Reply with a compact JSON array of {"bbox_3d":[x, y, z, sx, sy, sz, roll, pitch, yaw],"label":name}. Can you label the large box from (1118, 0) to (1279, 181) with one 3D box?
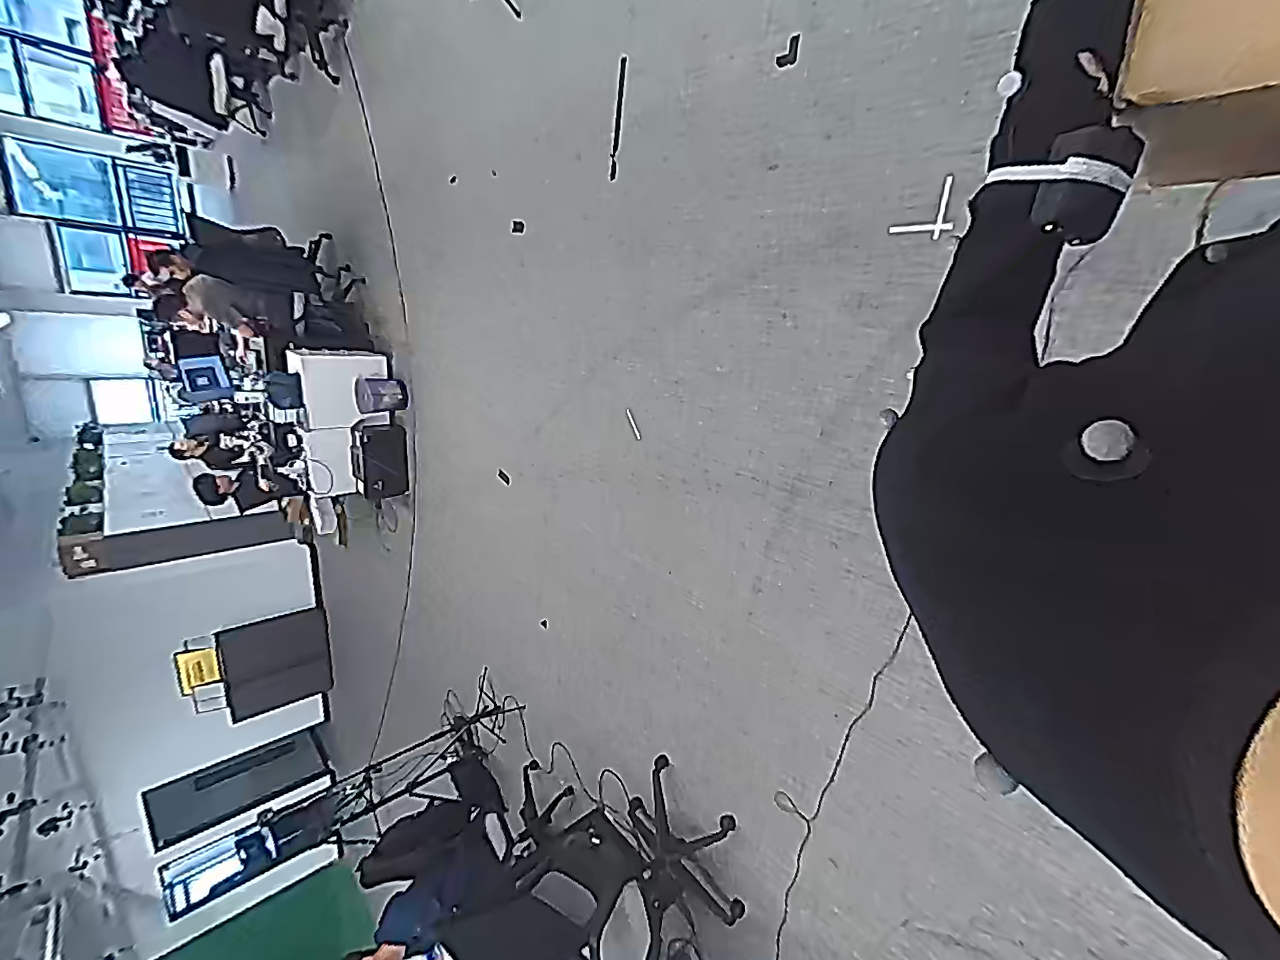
[{"bbox_3d":[0.584,-0.400,0.311,0.408,0.320,0.320,17,114,43],"label":"large box"}]
